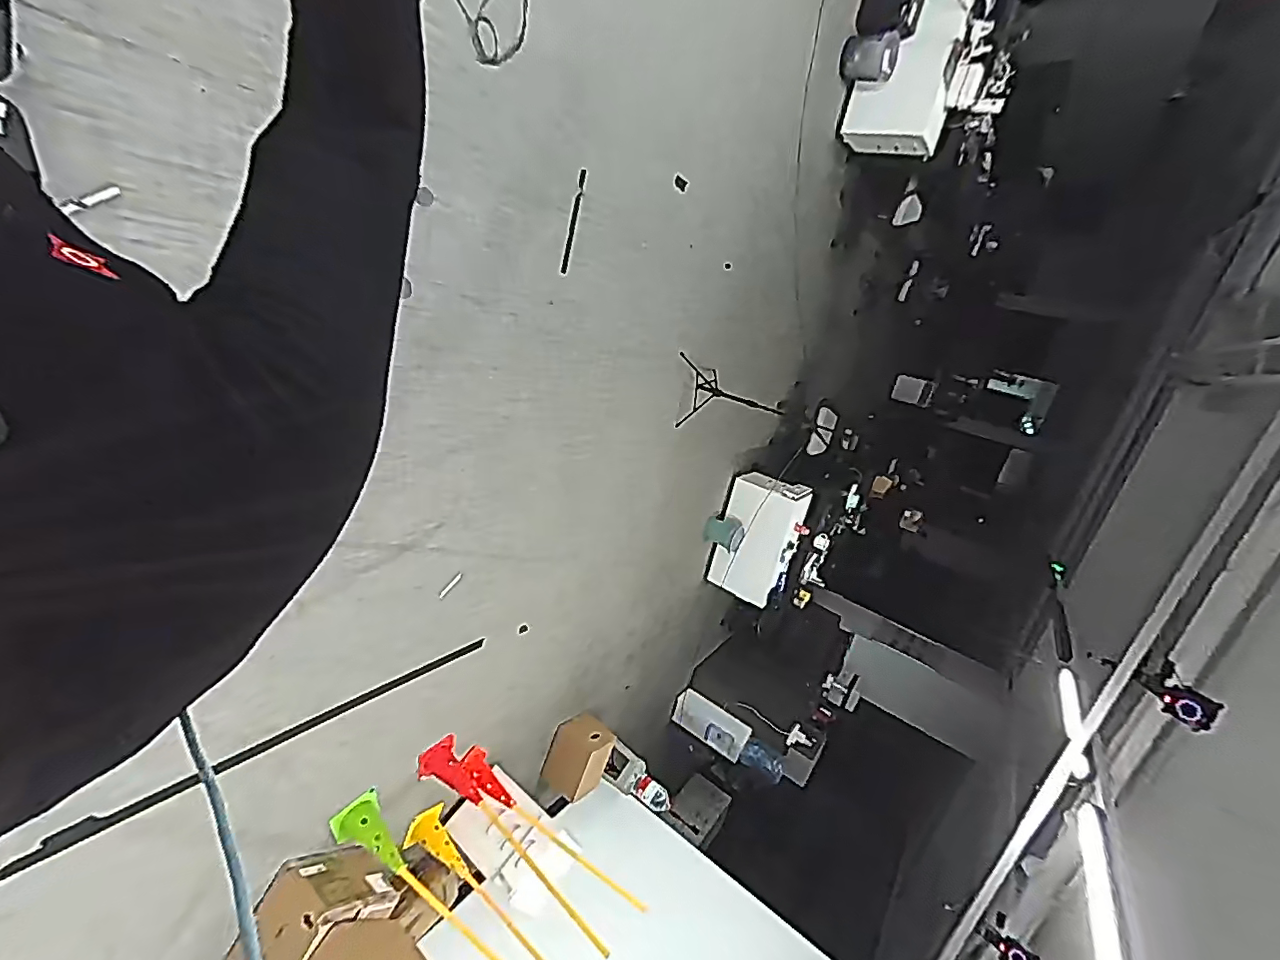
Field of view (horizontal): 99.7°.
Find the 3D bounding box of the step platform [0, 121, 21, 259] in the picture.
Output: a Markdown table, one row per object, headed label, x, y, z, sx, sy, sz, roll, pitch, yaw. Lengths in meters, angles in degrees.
| label | x | y | z | sx | sy | sz | roll | pitch | yaw |
| --- | --- | --- | --- | --- | --- | --- | --- | --- | --- |
| step platform | -1.343 | -0.494 | 0.719 | 0.684 | 0.204 | 0.286 | -16 | 124 | -52 |
